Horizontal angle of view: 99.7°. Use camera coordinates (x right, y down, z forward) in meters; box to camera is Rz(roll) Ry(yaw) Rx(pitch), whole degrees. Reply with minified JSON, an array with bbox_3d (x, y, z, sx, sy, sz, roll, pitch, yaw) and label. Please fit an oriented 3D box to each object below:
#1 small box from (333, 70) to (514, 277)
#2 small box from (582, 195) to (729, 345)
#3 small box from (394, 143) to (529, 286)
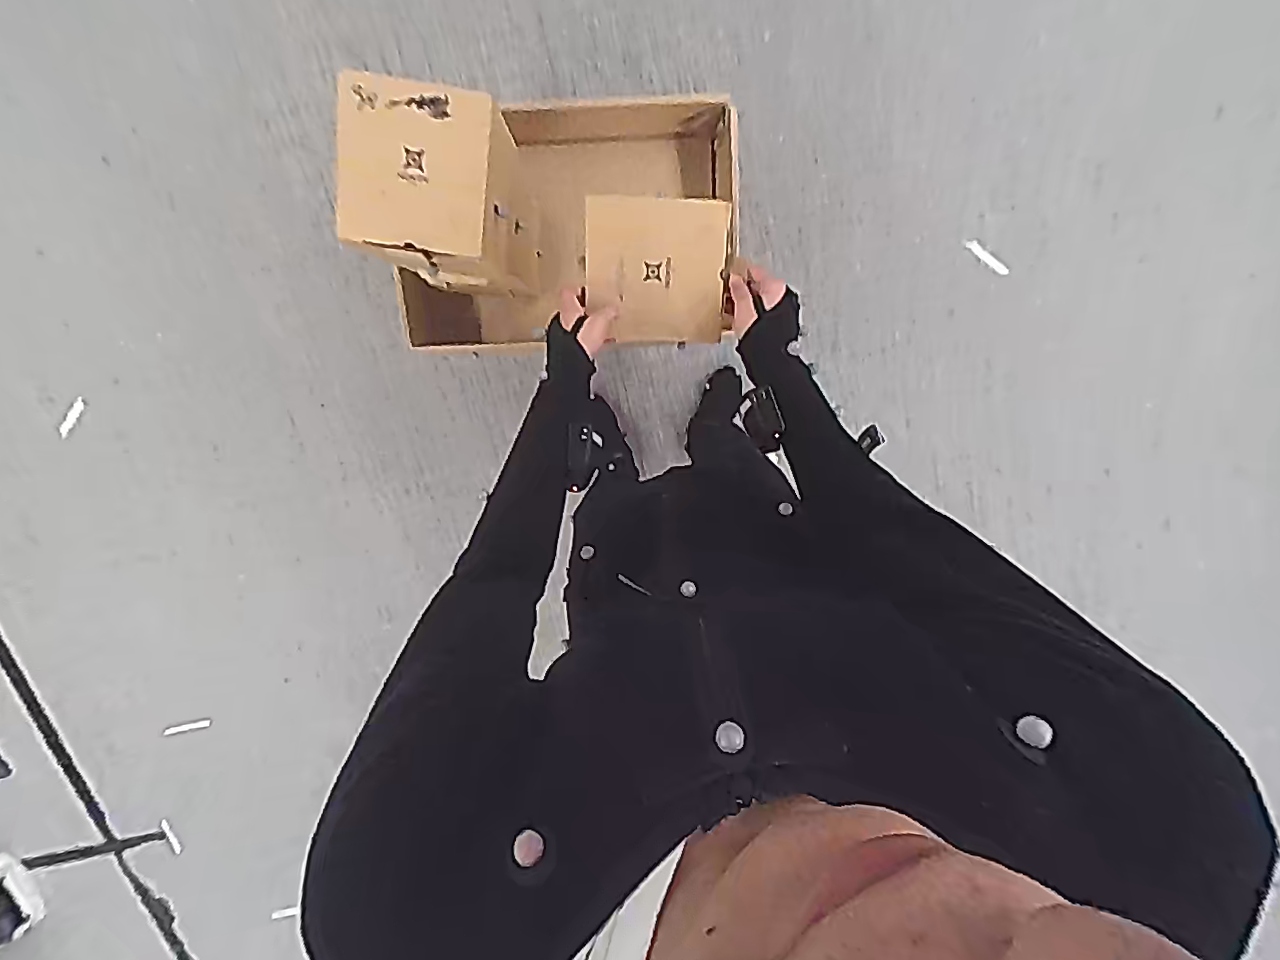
[{"bbox_3d":[-0.259,-0.364,0.681,0.168,0.176,0.179,7,102,-5],"label":"small box"},{"bbox_3d":[0.012,-0.277,0.736,0.179,0.176,0.168,1,107,-3],"label":"small box"},{"bbox_3d":[-0.269,-0.406,0.840,0.168,0.176,0.179,4,102,-4],"label":"small box"}]
